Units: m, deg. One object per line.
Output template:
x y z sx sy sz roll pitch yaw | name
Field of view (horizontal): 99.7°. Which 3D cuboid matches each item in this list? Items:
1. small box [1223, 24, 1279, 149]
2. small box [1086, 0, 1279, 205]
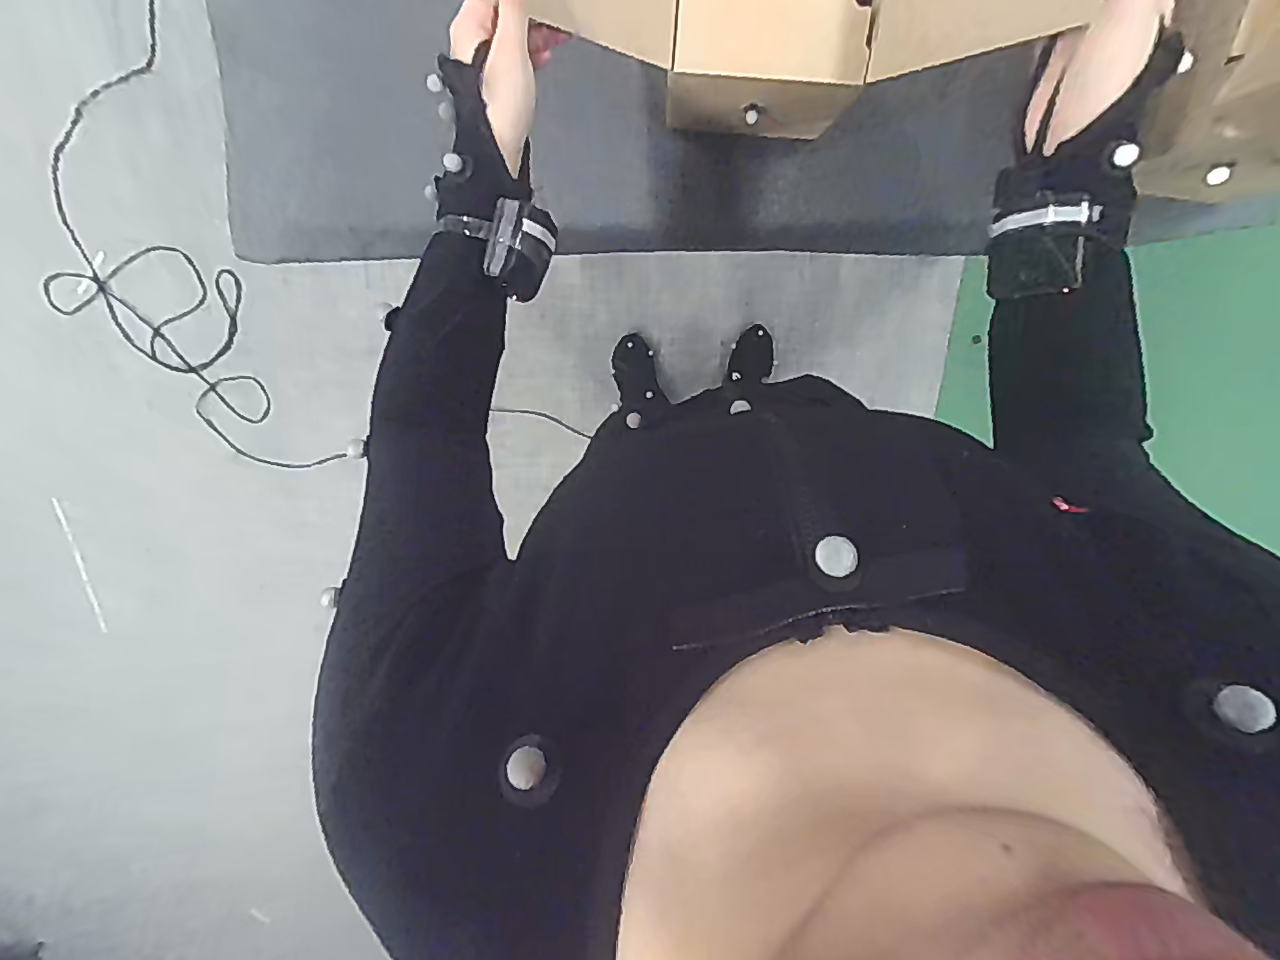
0.587 -0.318 0.366 0.179 0.176 0.168 27 104 -6 | small box
0.590 -0.377 0.518 0.179 0.176 0.168 7 105 1 | small box
